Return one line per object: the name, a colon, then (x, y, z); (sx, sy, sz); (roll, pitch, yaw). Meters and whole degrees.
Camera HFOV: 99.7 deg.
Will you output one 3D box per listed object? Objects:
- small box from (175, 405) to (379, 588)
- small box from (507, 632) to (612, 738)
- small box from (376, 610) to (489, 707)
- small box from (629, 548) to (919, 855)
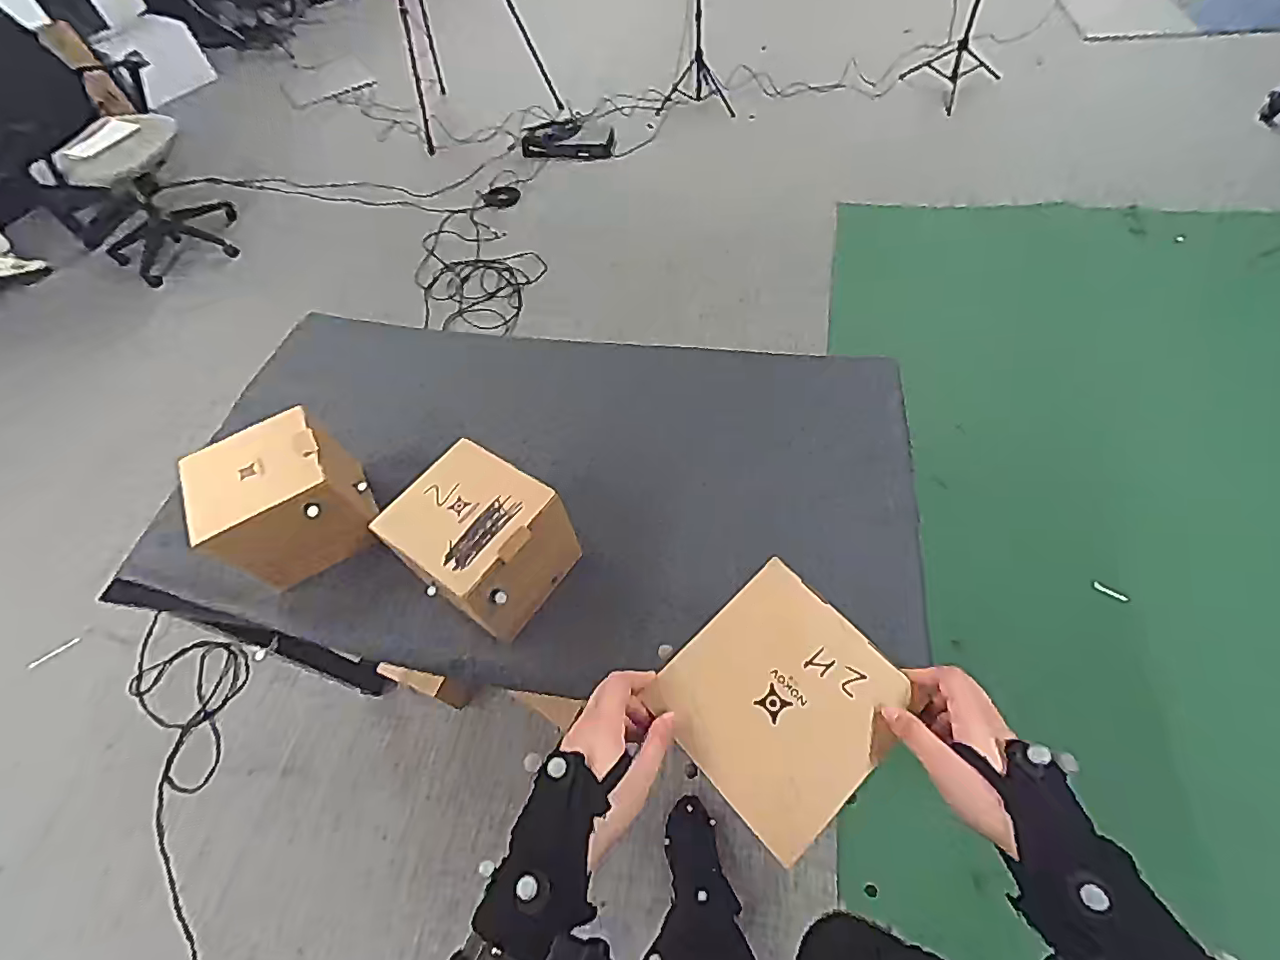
small box: (-0.522, 0.030, 0.793); (0.179, 0.176, 0.168); (-30, 59, -13)
small box: (-0.185, 0.504, 1.315); (0.179, 0.176, 0.168); (23, 62, 22)
small box: (-0.523, 0.461, 1.384); (0.179, 0.176, 0.168); (16, 60, 17)
small box: (0.113, 0.198, 0.510); (0.179, 0.176, 0.168); (-41, 70, -13)
